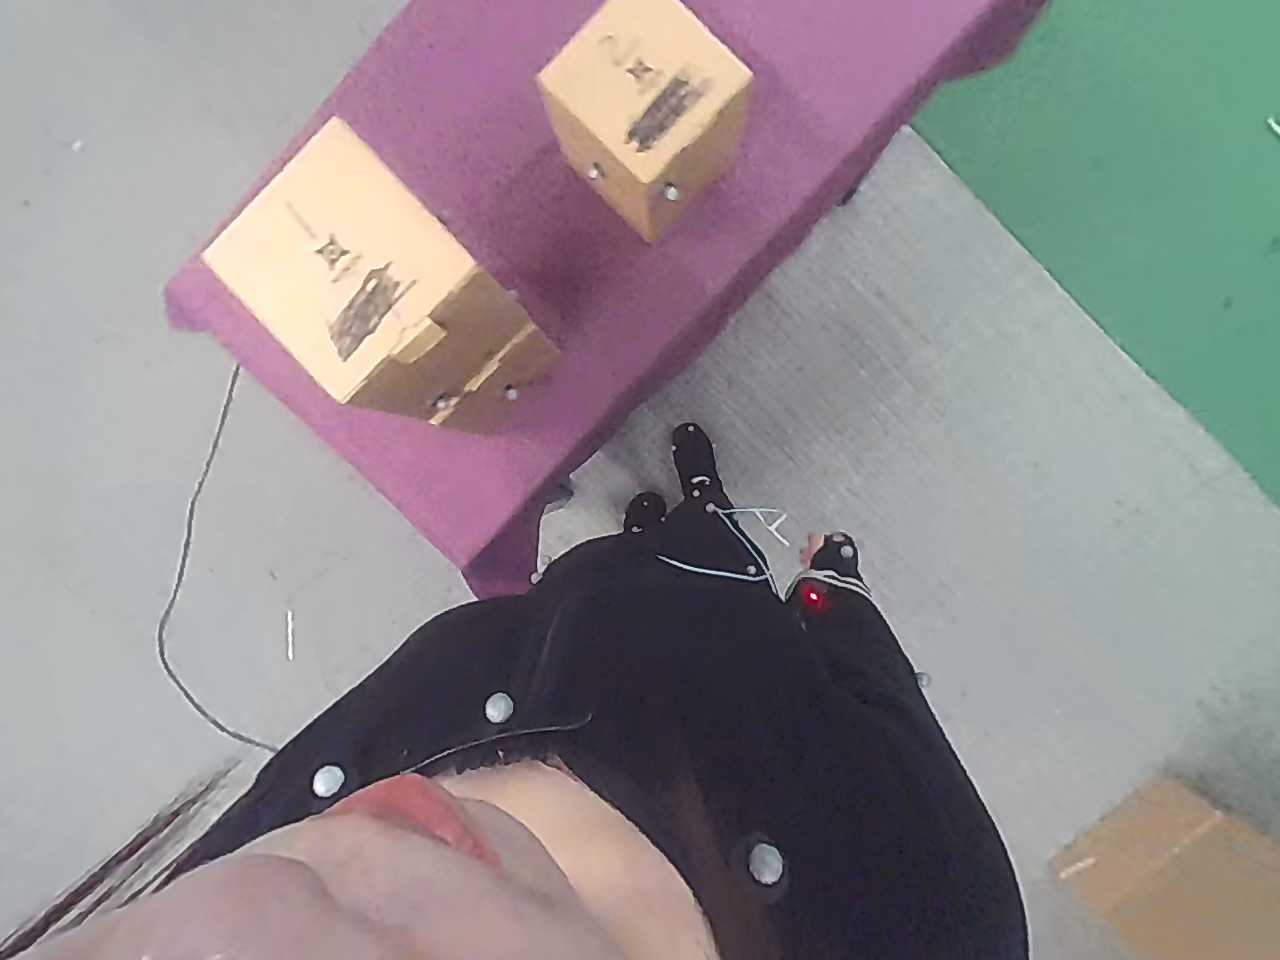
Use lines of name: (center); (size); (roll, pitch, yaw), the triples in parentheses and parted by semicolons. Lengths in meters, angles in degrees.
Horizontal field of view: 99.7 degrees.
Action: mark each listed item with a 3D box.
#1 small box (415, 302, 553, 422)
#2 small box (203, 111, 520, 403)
small box: (-0.234, -0.190, 0.689); (0.168, 0.176, 0.179); (-44, 91, 3)
small box: (-0.244, -0.189, 0.525); (0.168, 0.176, 0.179); (-43, 89, 3)
